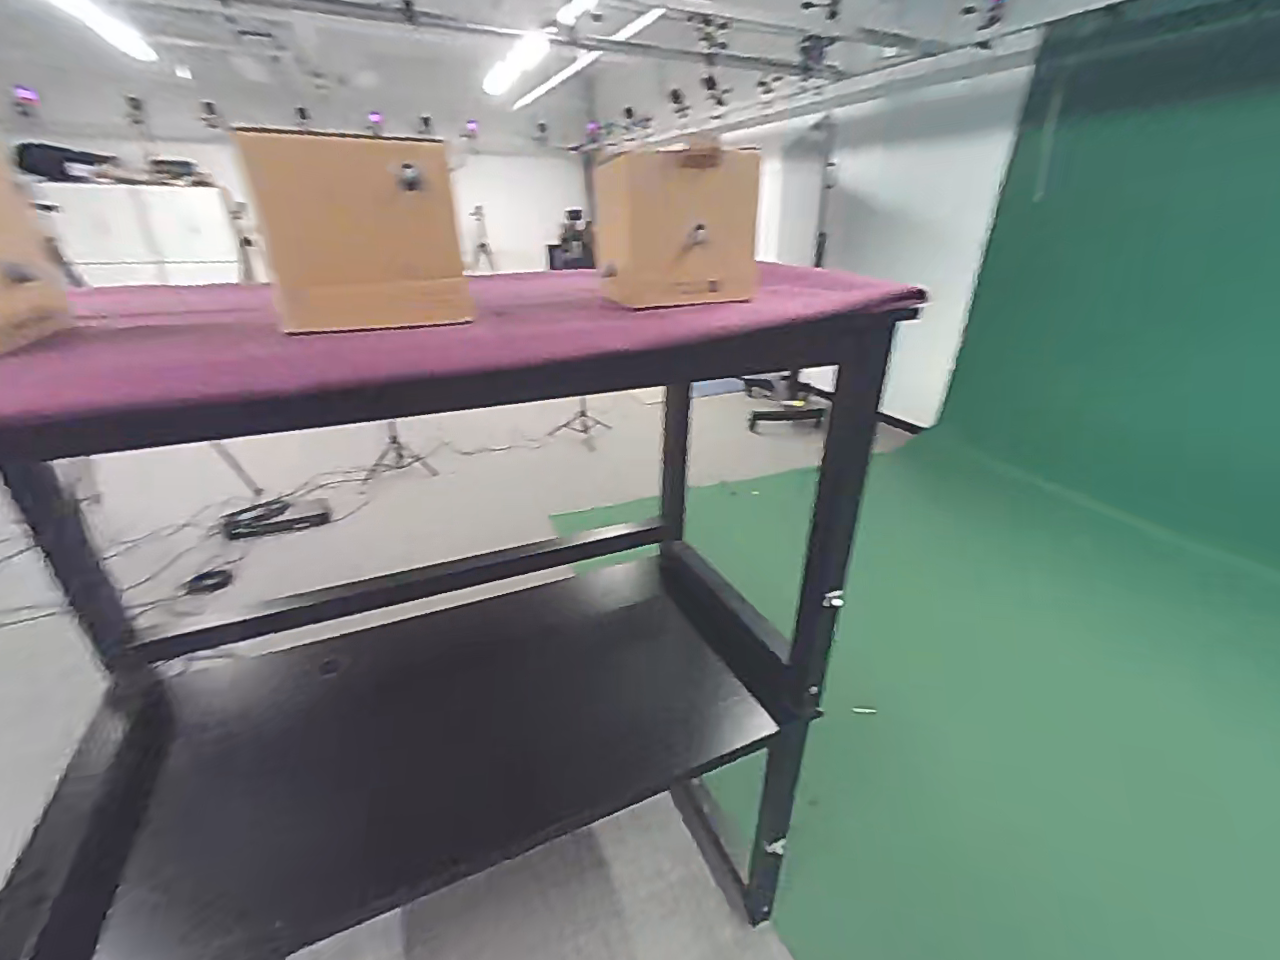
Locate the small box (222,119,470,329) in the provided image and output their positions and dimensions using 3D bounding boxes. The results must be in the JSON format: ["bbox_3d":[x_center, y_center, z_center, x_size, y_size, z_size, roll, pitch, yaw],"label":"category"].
[{"bbox_3d":[-0.286,-0.254,0.560,0.179,0.176,0.168,-11,26,-22],"label":"small box"}]

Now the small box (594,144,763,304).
[{"bbox_3d":[0.043,-0.323,0.695,0.168,0.176,0.179,-9,26,-15],"label":"small box"}]

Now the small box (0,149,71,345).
[{"bbox_3d":[-0.608,-0.185,0.407,0.179,0.176,0.168,-11,29,-22],"label":"small box"}]
